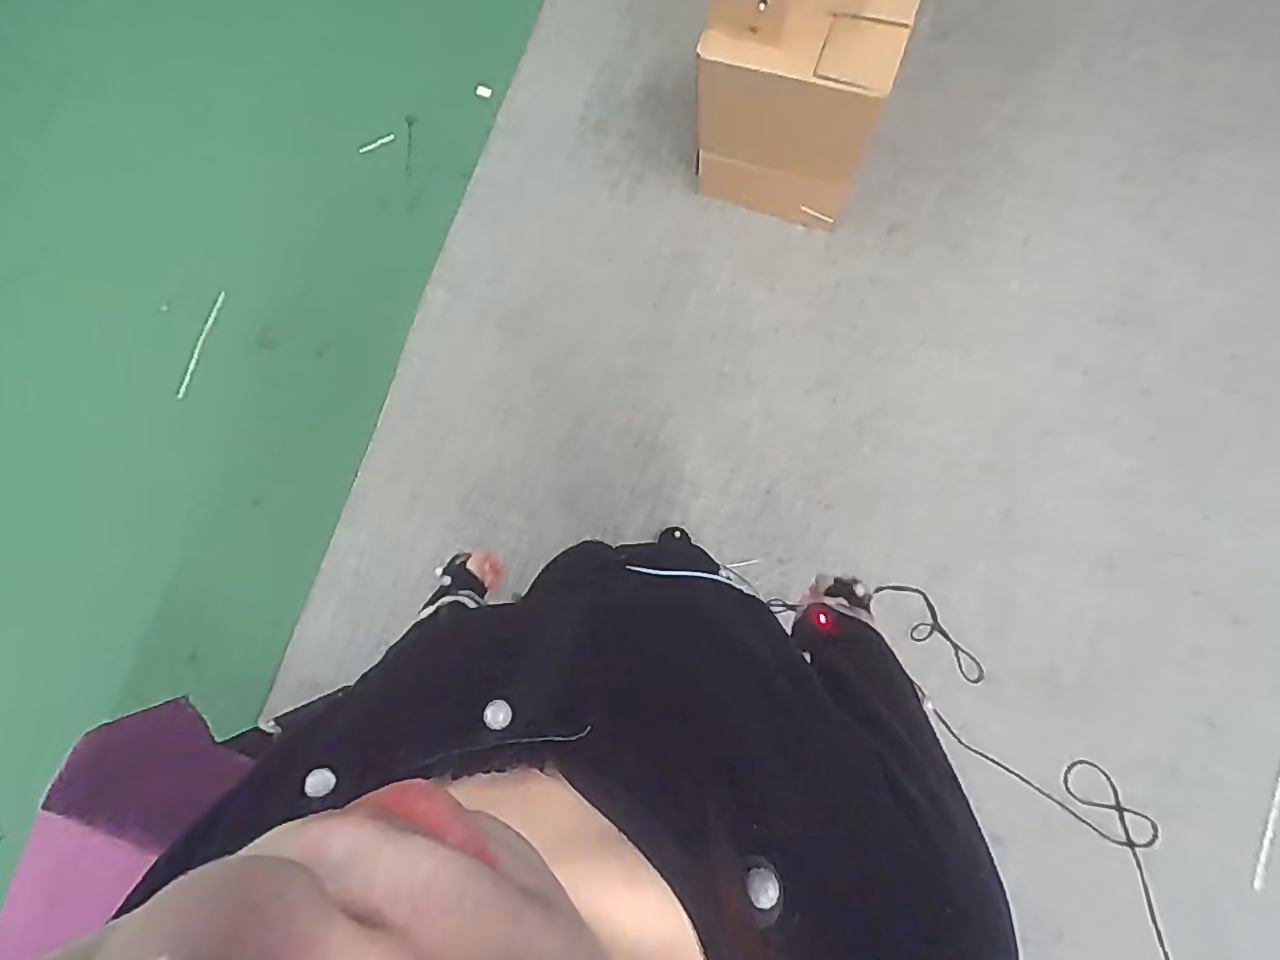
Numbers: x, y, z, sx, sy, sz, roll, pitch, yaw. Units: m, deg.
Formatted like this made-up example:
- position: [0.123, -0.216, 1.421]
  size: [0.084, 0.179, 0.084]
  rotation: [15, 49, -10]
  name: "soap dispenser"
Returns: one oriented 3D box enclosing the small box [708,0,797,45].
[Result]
- position: [0.235, -1.006, 1.049]
  size: [0.168, 0.176, 0.179]
  rotation: [21, 88, 5]
  name: "small box"
